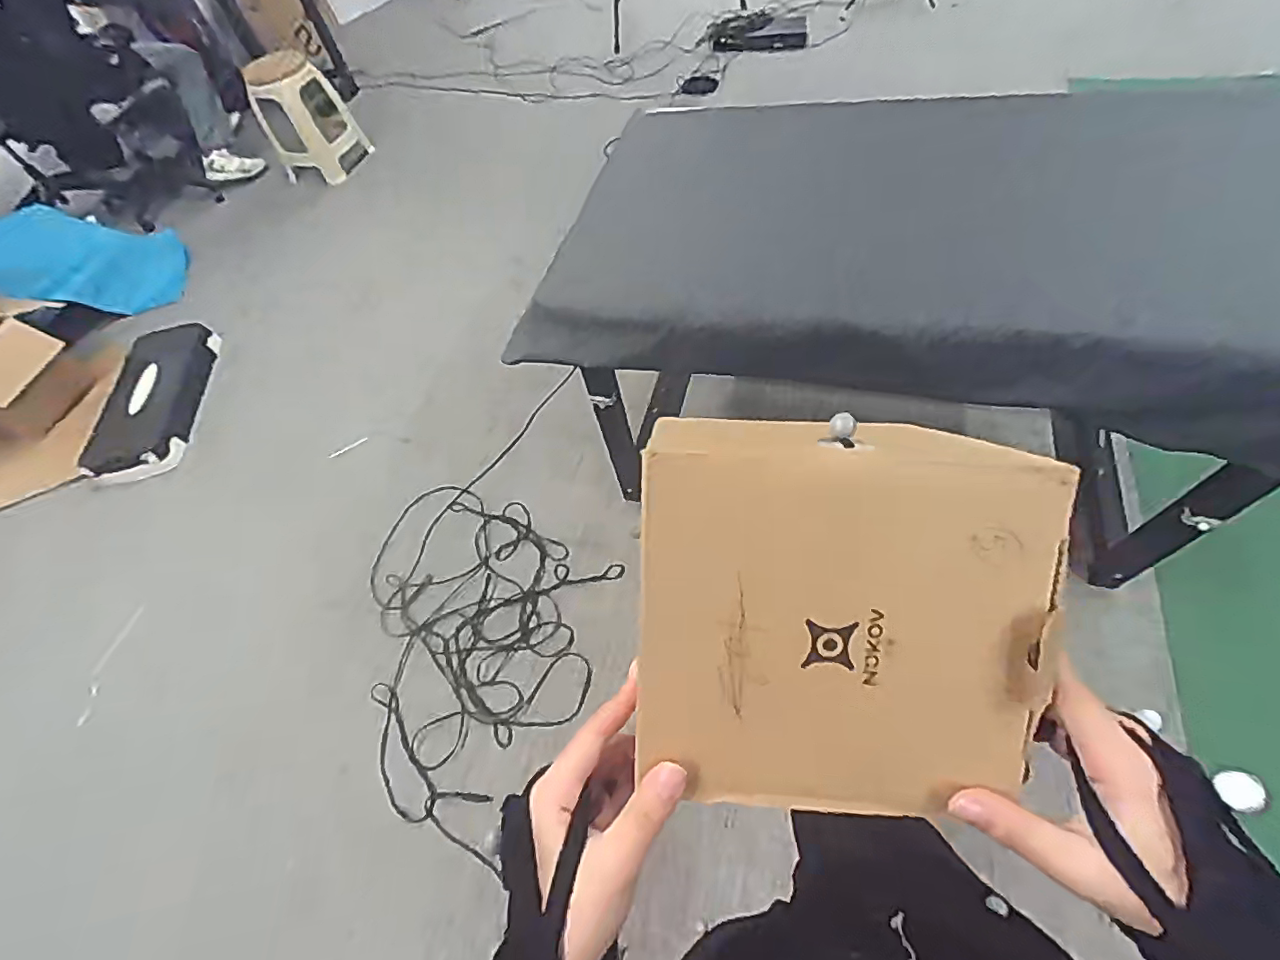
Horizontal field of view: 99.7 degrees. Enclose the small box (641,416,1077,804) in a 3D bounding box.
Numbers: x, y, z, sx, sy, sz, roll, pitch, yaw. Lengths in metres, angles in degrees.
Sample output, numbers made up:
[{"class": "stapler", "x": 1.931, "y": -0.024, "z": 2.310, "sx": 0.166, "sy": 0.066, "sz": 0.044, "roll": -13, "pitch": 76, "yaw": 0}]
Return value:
[{"class": "small box", "x": 0.094, "y": 0.050, "z": 0.314, "sx": 0.179, "sy": 0.176, "sz": 0.168, "roll": 2, "pitch": 99, "yaw": 4}]
